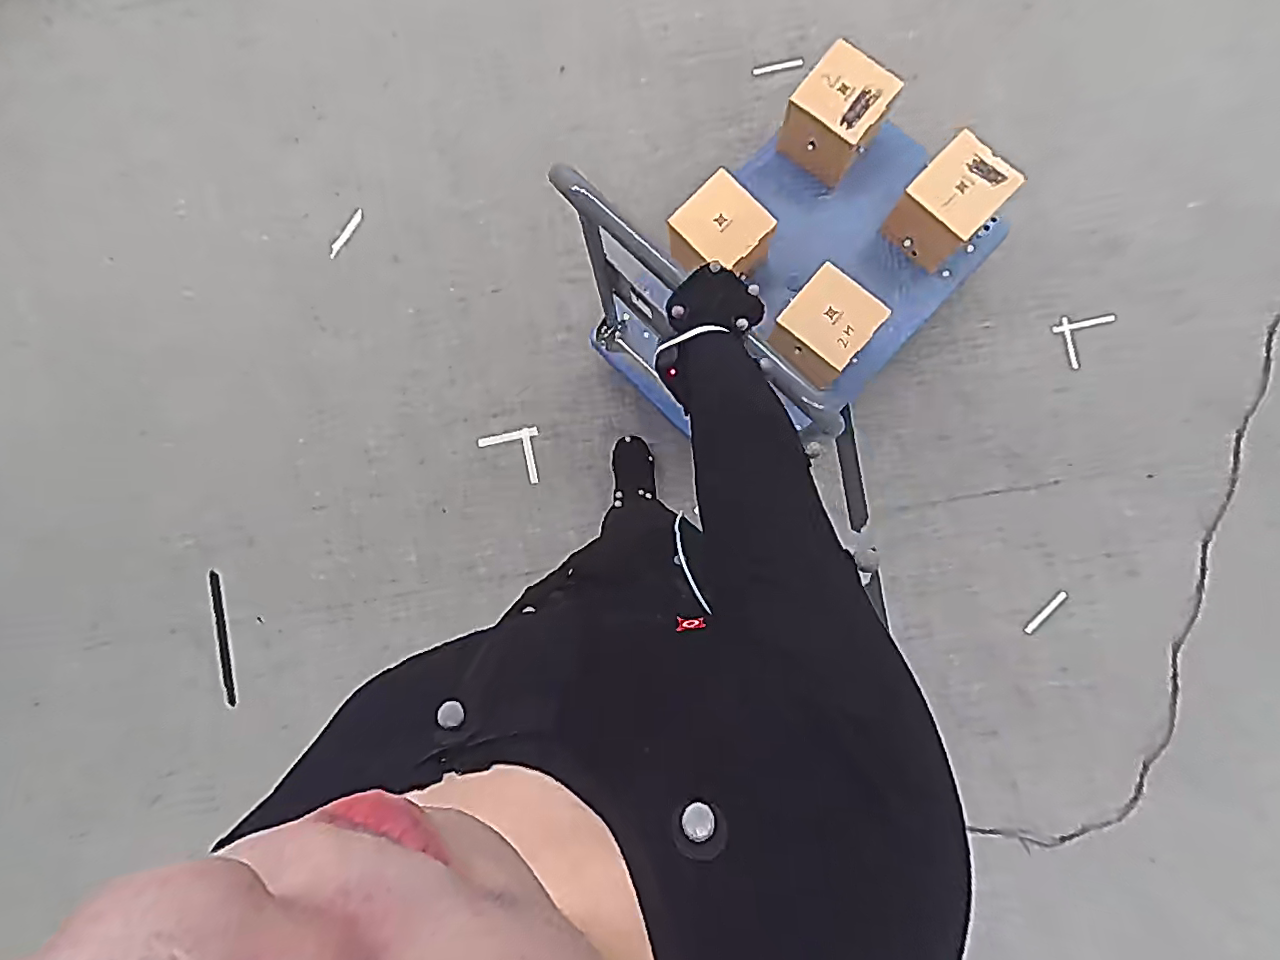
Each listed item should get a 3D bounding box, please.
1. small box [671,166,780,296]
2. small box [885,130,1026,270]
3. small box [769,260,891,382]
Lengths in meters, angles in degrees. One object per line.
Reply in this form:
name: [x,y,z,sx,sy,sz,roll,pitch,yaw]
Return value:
small box: [0.185,-0.554,1.230,0.168,0.176,0.179,-43,87,2]
small box: [0.677,-0.603,1.186,0.179,0.176,0.168,-45,85,3]
small box: [0.408,-0.341,1.200,0.179,0.176,0.168,42,92,5]
